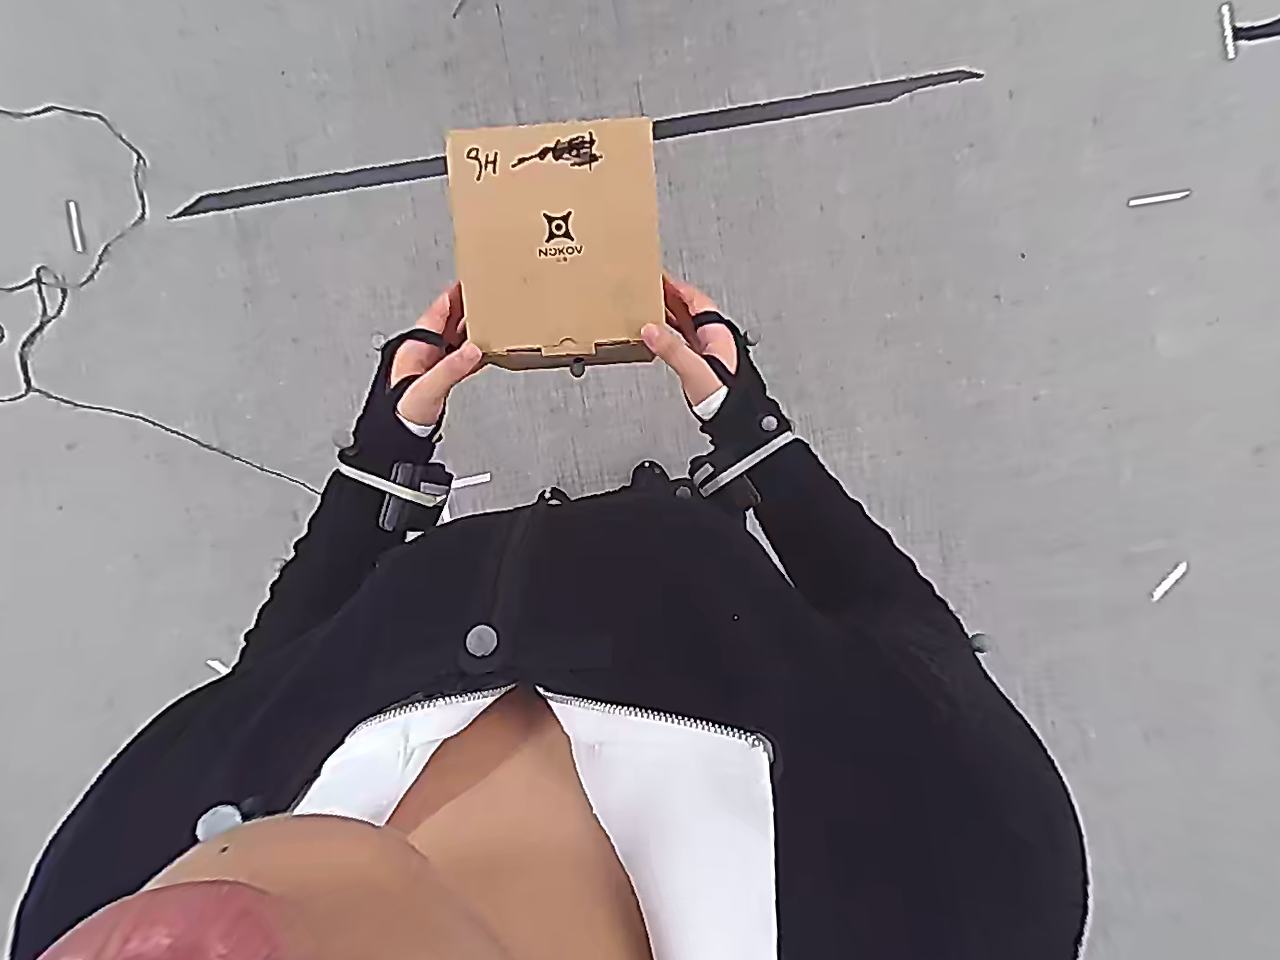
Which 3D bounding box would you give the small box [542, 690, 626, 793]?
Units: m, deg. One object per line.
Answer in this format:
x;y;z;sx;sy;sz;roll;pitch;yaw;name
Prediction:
-0.131;0.647;1.331;0.168;0.176;0.179;-10;93;2;small box
